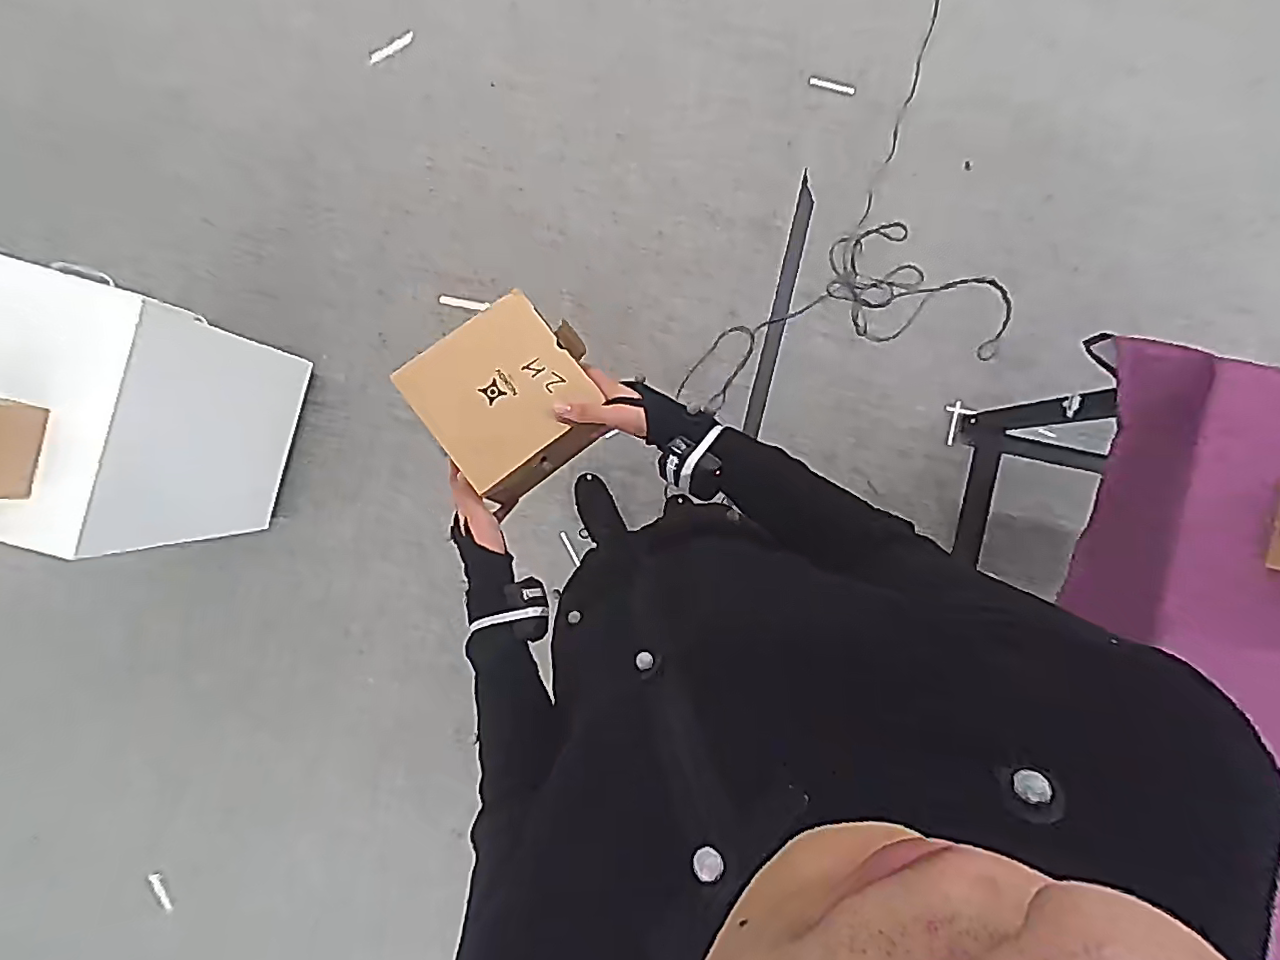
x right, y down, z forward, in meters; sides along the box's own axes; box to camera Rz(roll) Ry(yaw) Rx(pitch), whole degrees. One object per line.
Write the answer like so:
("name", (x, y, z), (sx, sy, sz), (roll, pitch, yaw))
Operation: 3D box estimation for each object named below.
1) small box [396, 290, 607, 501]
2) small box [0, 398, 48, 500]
("small box", (-0.154, -0.089, 0.669), (0.179, 0.176, 0.168), (-38, 87, -8))
("small box", (-1.198, -0.064, 0.931), (0.168, 0.176, 0.179), (13, 89, -2))
